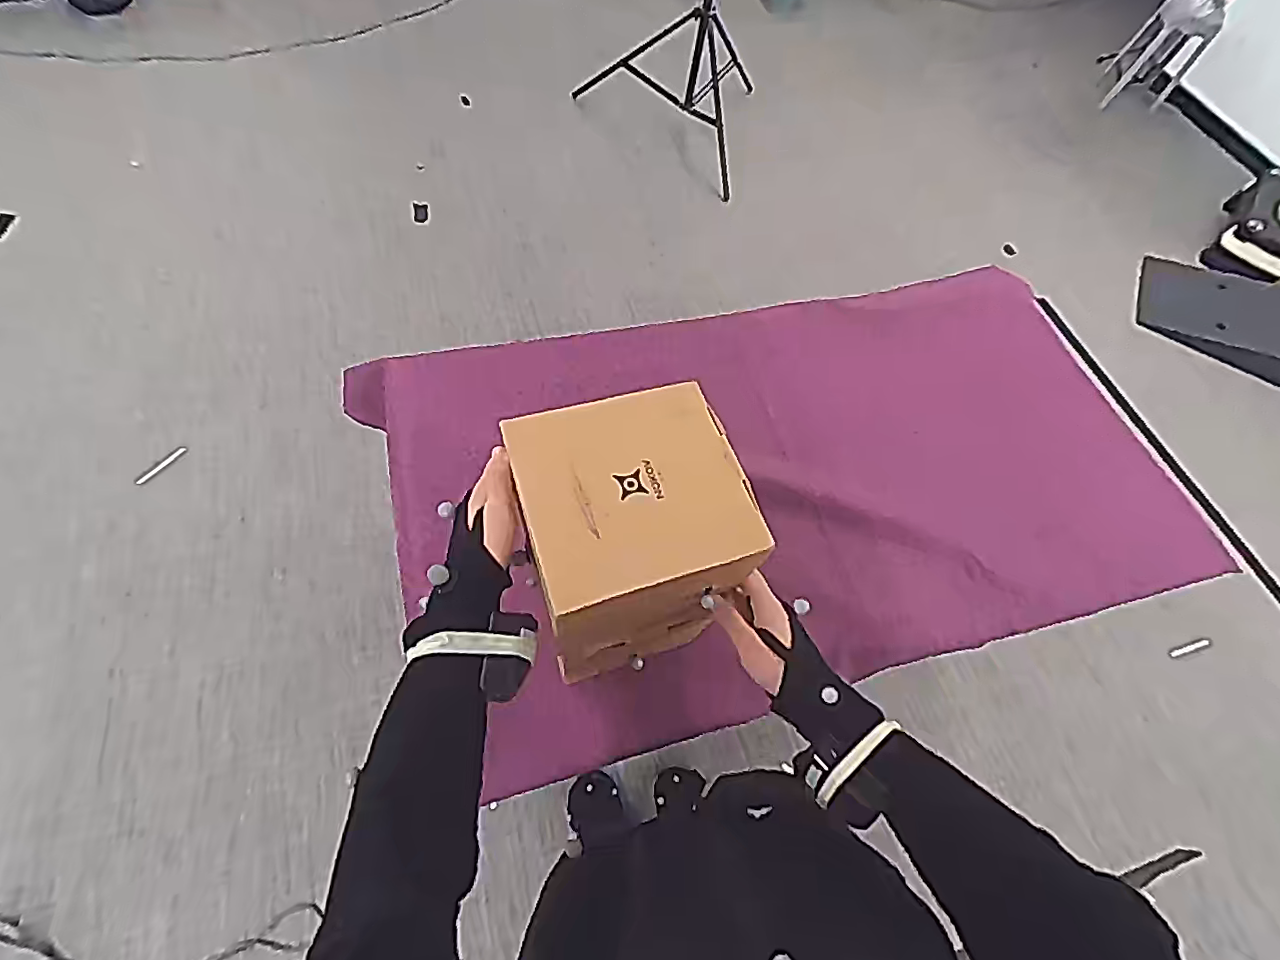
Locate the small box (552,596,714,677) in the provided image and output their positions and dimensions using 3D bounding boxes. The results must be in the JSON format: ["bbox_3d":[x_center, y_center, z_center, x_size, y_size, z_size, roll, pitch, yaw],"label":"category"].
[{"bbox_3d":[-0.035,0.114,0.642,0.168,0.176,0.179,-14,66,-14],"label":"small box"}]

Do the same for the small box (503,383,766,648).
[{"bbox_3d":[-0.017,0.039,0.498,0.179,0.176,0.168,-14,65,-15],"label":"small box"}]
